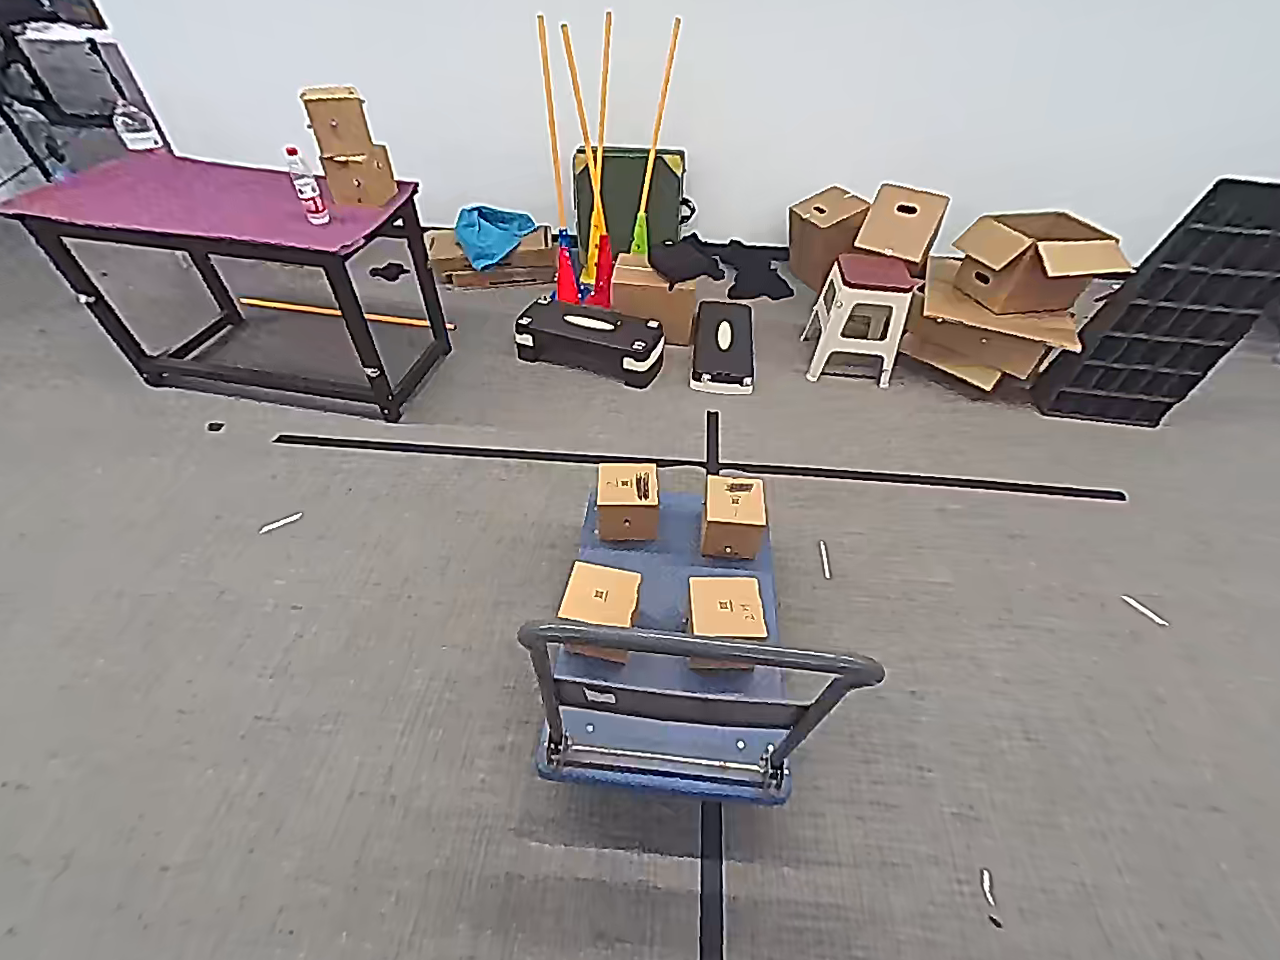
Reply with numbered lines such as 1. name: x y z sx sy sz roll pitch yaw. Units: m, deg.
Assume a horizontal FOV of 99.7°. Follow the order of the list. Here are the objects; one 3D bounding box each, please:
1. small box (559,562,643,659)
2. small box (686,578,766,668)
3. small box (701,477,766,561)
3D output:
1. small box: -0.097 0.338 1.385 0.179 0.176 0.168 11 46 5
2. small box: 0.208 0.366 1.374 0.179 0.176 0.168 2 47 -1
3. small box: 0.275 0.116 1.613 0.168 0.176 0.179 5 48 3
